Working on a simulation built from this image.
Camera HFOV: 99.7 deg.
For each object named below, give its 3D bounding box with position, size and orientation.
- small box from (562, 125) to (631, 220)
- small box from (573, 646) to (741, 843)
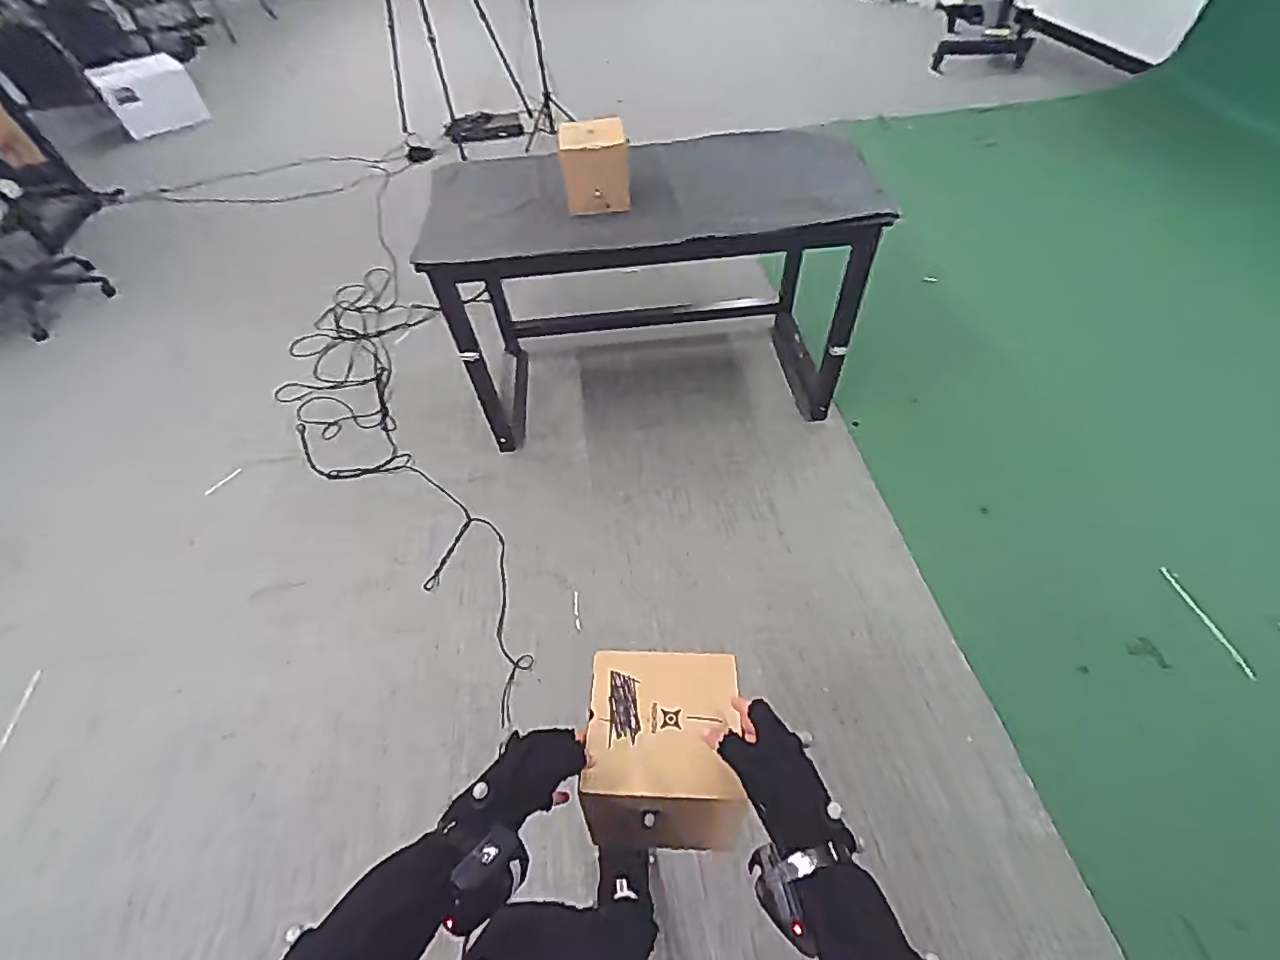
[{"bbox_3d":[-0.116,-0.824,1.453,0.168,0.176,0.179,-6,52,0],"label":"small box"},{"bbox_3d":[0.024,0.323,0.662,0.179,0.176,0.168,1,41,3],"label":"small box"}]
